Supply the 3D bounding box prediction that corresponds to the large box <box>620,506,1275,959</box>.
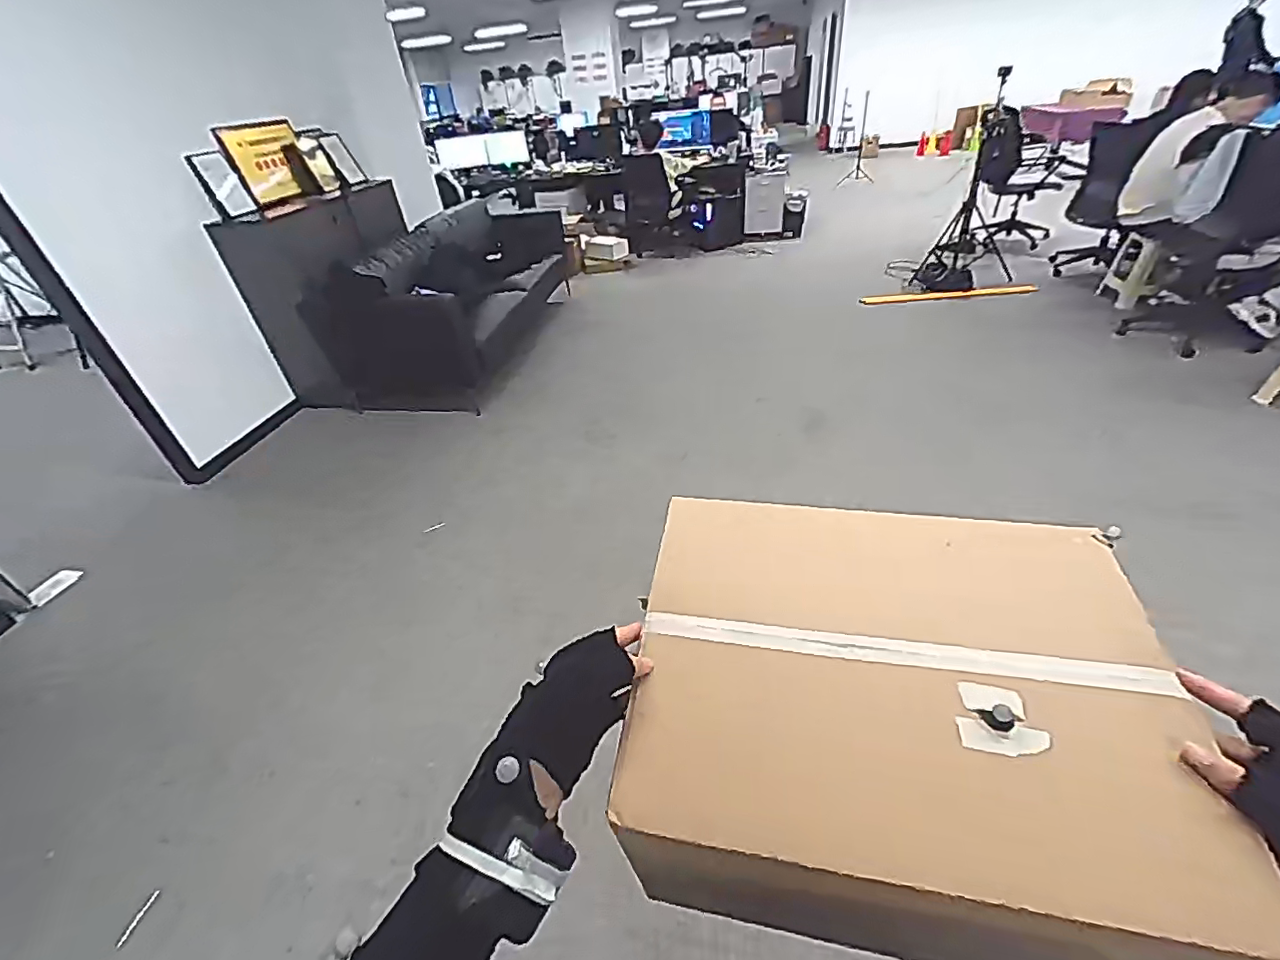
[{"bbox_3d":[0.217,0.249,0.556,0.408,0.320,0.320,3,46,12],"label":"large box"}]
